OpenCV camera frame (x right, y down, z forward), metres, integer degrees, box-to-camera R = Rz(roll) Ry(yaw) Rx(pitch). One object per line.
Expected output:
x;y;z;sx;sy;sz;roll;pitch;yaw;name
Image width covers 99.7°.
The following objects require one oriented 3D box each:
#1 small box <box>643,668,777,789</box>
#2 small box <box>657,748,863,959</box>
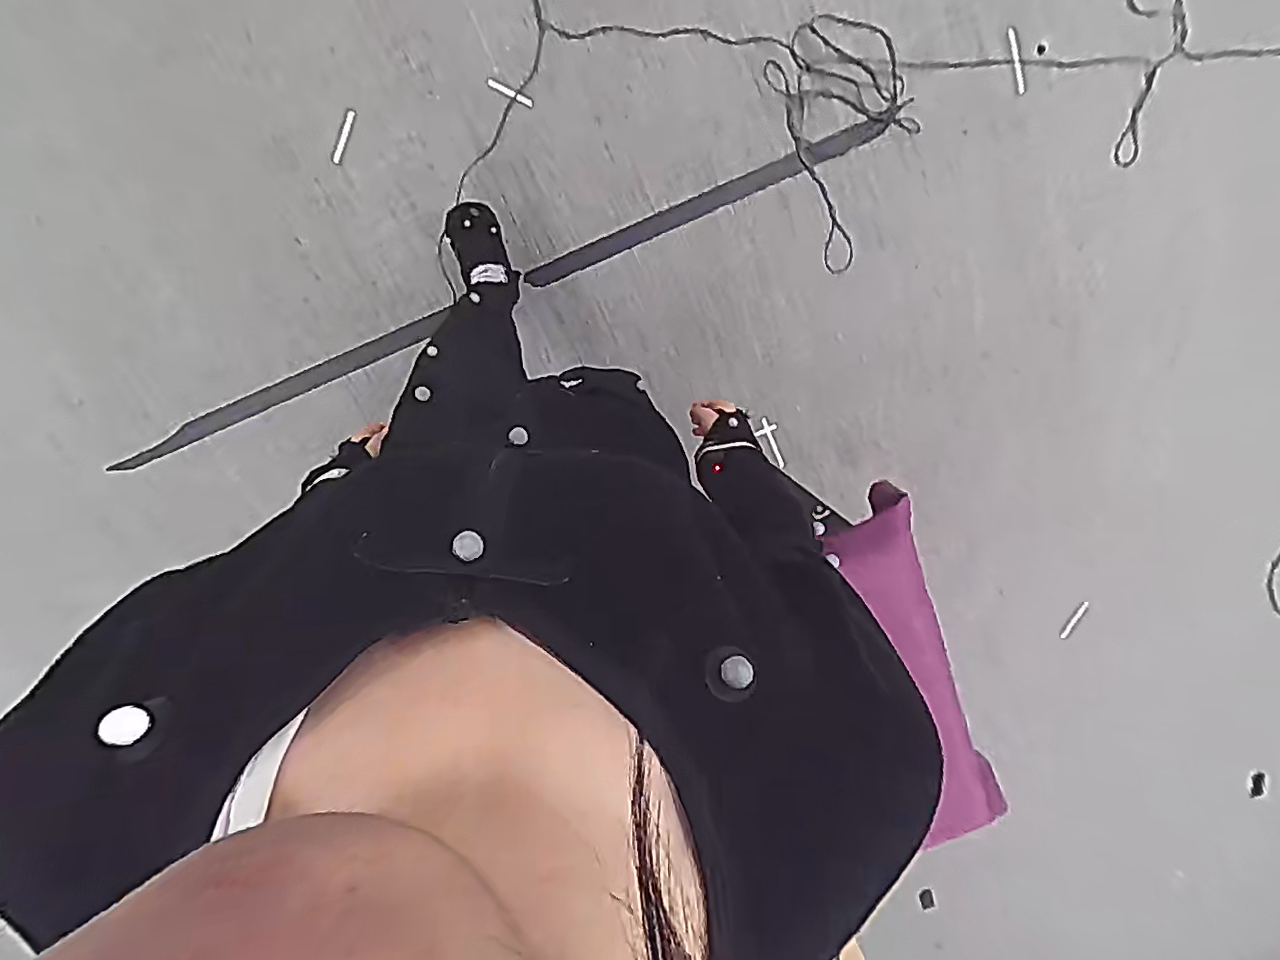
0.112;0.408;0.804;0.168;0.176;0.179;-23;107;2;small box
0.131;0.456;0.648;0.168;0.176;0.179;-24;107;2;small box
